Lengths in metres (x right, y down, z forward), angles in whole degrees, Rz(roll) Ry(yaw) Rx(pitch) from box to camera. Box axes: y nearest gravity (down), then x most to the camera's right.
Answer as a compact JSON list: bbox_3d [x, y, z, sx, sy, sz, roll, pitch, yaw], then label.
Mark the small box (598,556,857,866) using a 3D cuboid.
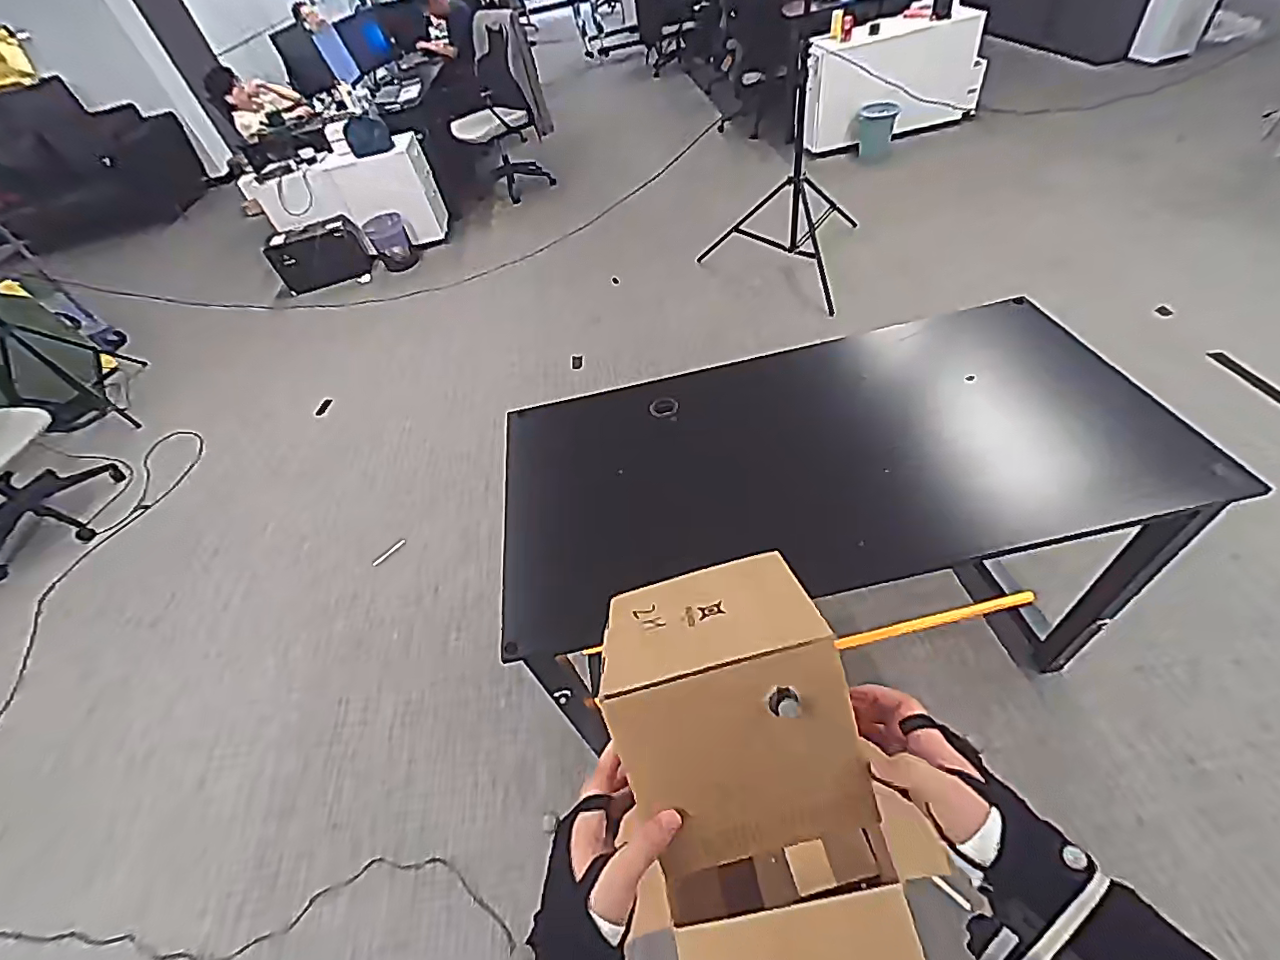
[{"bbox_3d":[0.076,0.192,0.477,0.179,0.176,0.168,-15,13,5],"label":"small box"}]
